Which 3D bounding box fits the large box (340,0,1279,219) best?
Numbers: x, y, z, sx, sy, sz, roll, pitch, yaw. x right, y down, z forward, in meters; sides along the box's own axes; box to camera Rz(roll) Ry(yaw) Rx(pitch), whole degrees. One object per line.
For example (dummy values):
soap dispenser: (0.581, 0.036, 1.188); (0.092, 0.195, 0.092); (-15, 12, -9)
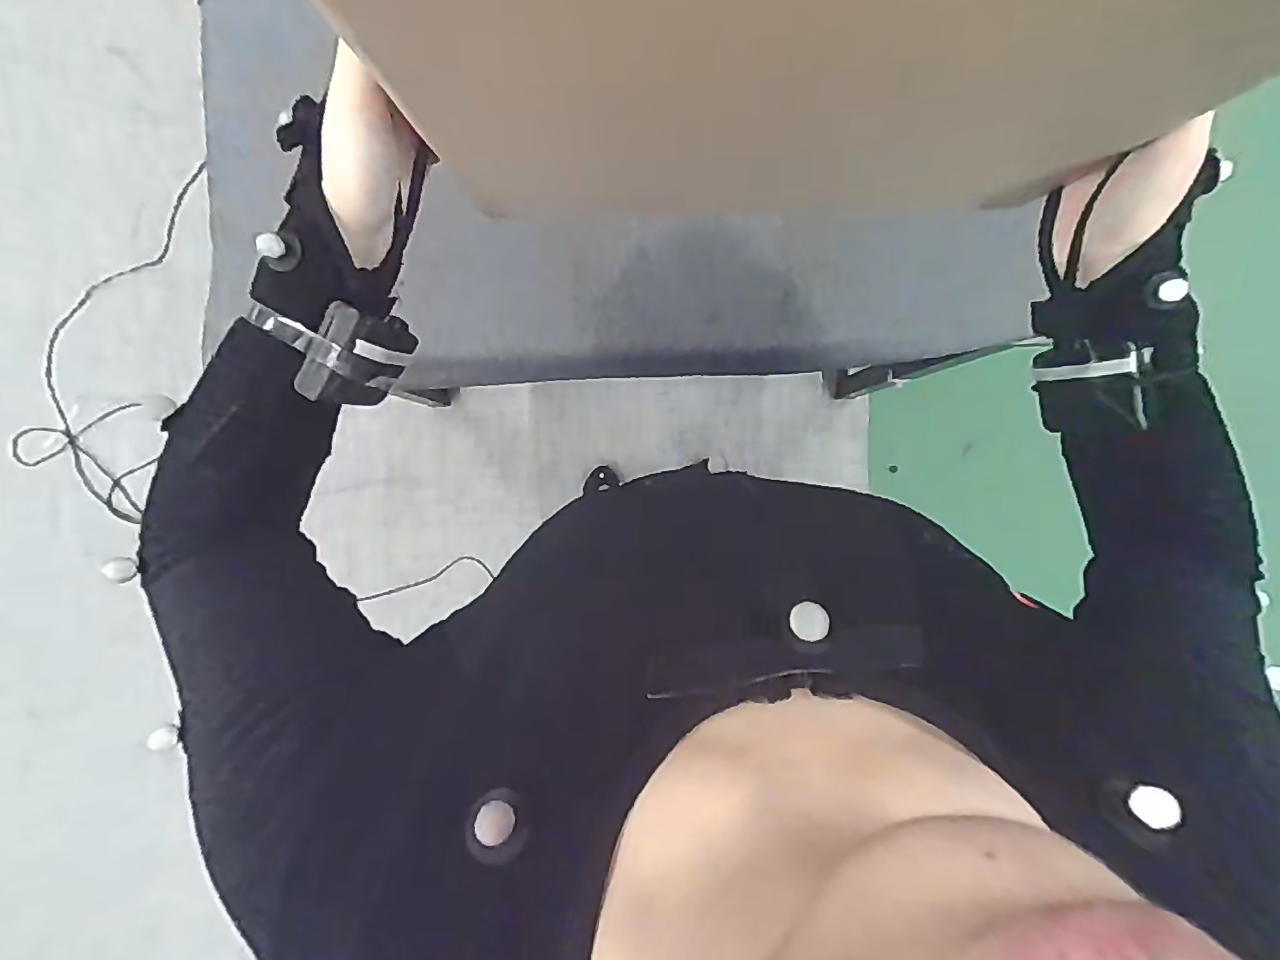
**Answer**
large box: (0.077, -0.338, 0.247); (0.408, 0.320, 0.320); (-2, 99, -1)
